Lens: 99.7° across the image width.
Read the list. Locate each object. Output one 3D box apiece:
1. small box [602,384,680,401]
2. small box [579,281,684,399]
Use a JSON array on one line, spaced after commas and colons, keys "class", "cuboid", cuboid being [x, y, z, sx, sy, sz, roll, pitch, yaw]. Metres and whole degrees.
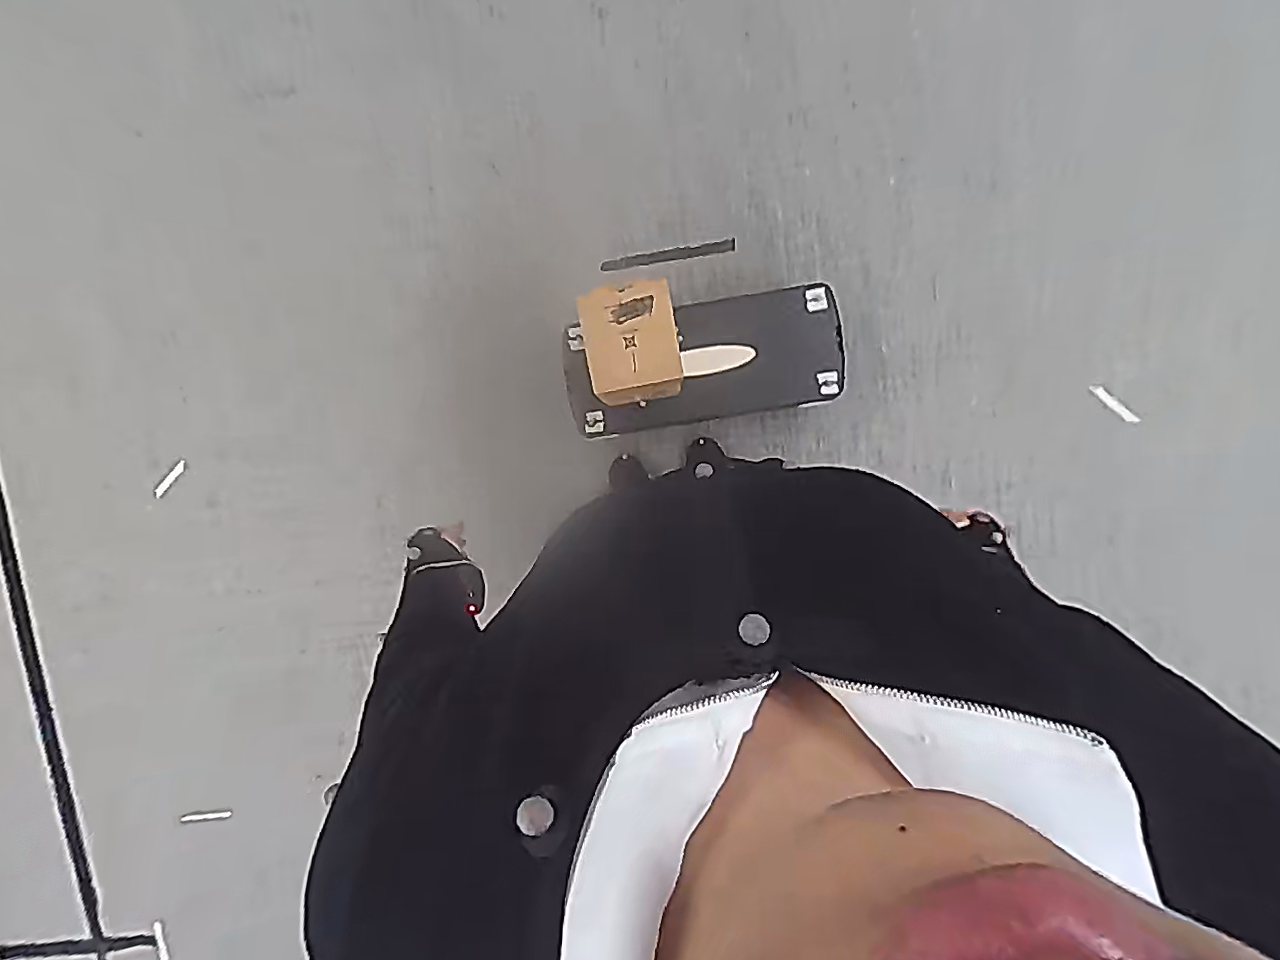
[{"class": "small box", "cuboid": [-0.008, -0.267, 1.196, 0.168, 0.176, 0.179, -9, 95, 2]}, {"class": "small box", "cuboid": [-0.015, -0.258, 1.032, 0.168, 0.176, 0.179, -10, 95, 2]}]
